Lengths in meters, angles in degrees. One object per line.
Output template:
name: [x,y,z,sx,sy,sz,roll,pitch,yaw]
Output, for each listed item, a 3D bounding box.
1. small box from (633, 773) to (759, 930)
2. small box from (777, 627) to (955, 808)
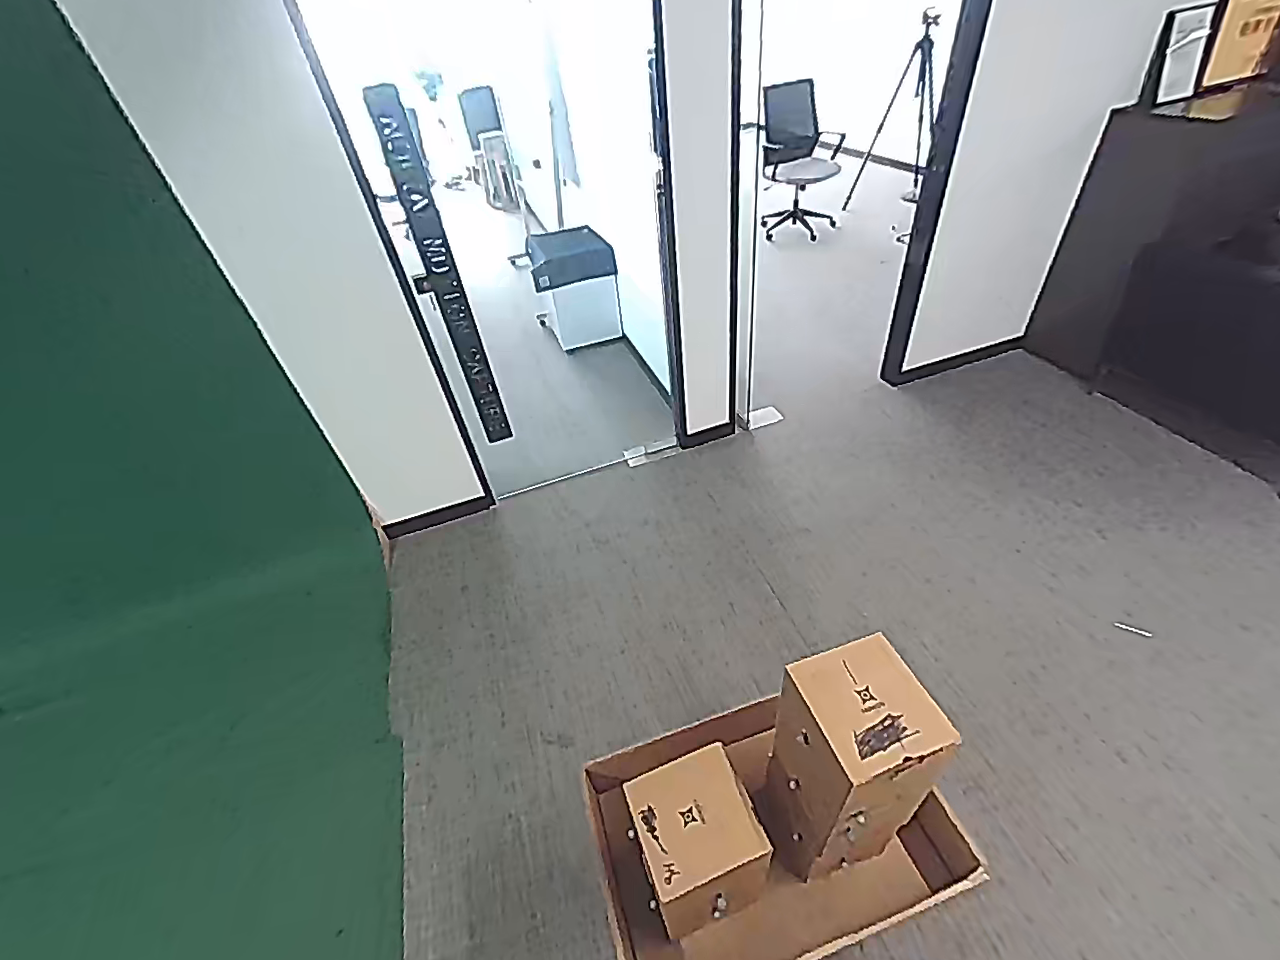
small box: [0.099,0.673,0.978,0.179,0.176,0.168,-15,42,-11]
small box: [0.319,0.357,0.804,0.168,0.176,0.179,-15,42,-9]
